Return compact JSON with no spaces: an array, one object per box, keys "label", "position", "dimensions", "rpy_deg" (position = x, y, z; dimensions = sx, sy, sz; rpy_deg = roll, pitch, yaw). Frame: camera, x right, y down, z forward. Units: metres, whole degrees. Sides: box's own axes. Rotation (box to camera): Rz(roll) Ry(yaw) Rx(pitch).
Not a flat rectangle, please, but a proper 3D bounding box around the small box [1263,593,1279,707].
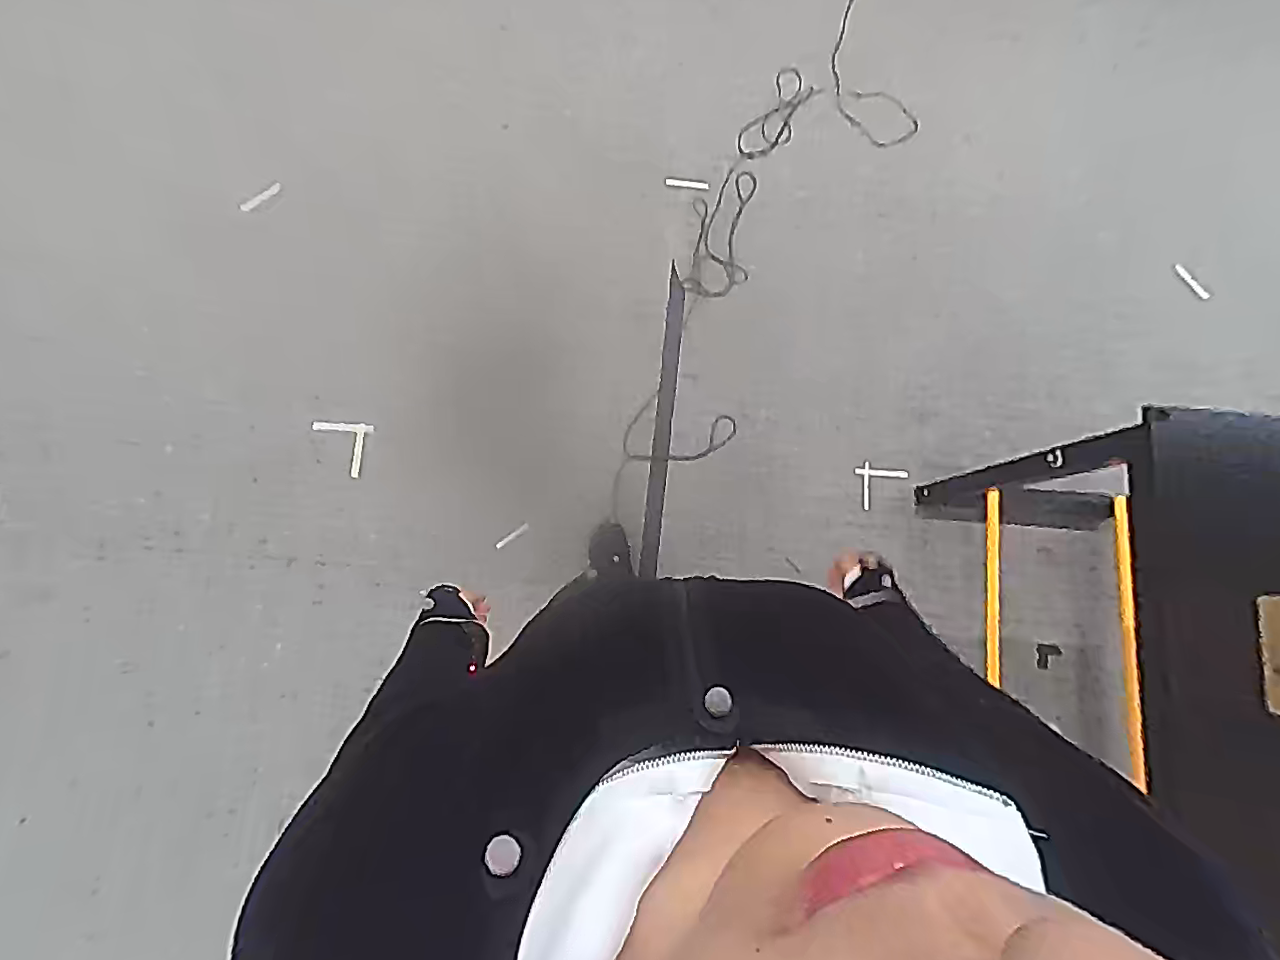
[{"label":"small box","position":[0.993,0.240,0.704],"dimensions":[0.179,0.176,0.168],"rpy_deg":[6,80,0]}]
